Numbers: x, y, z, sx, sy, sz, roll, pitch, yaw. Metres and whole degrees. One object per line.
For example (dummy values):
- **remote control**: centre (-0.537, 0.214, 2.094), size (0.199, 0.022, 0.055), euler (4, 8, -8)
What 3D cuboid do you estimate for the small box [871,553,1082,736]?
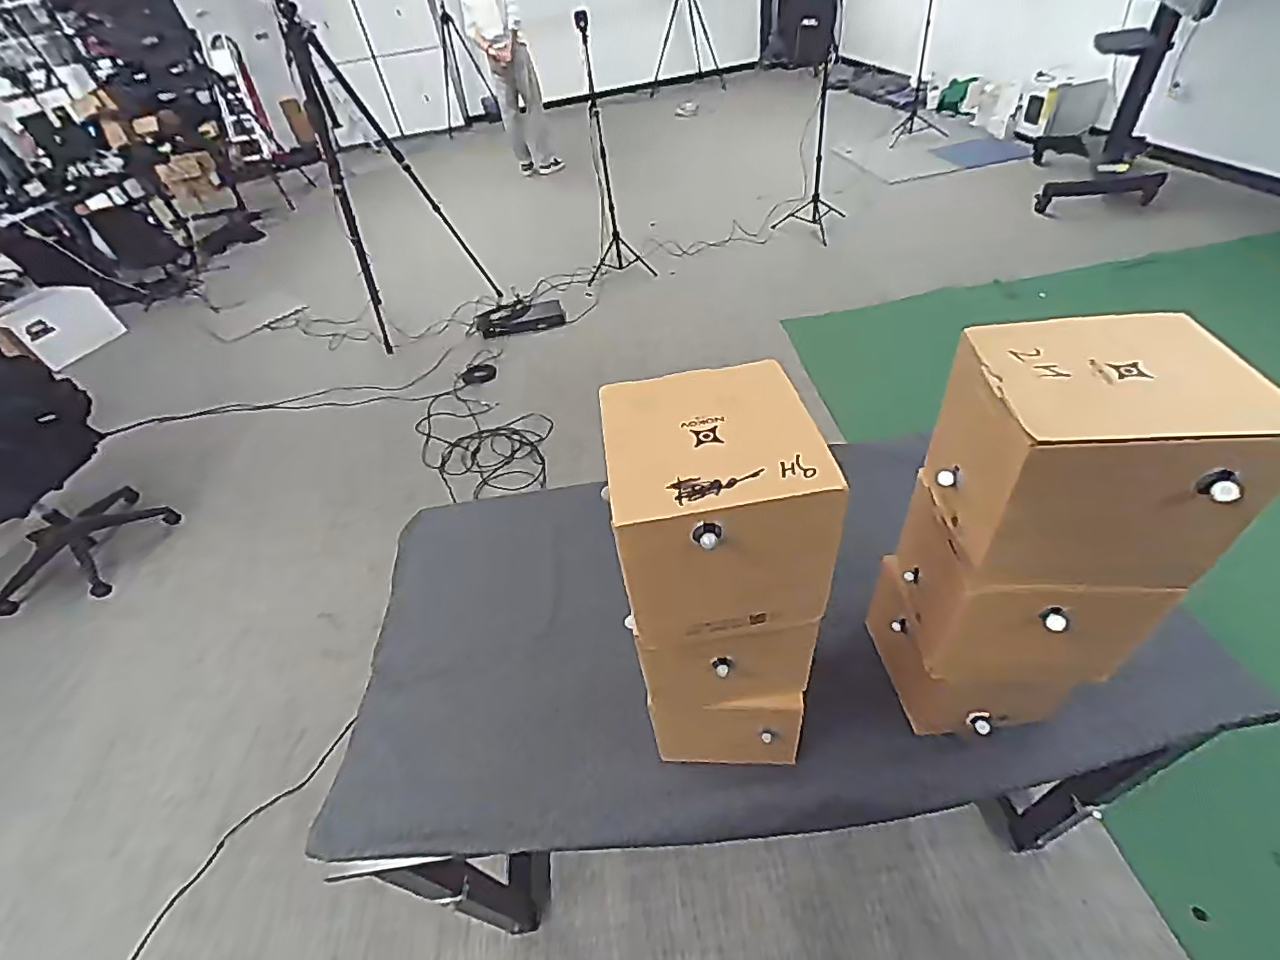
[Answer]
- **small box**: centre (0.418, 0.203, 0.700), size (0.168, 0.176, 0.179), euler (-10, 43, 2)

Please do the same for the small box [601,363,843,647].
- **small box**: centre (0.061, 0.021, 0.484), size (0.168, 0.176, 0.179), euler (-10, 42, 1)

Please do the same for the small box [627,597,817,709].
- **small box**: centre (0.081, 0.133, 0.602), size (0.179, 0.176, 0.168), euler (-10, 43, 2)

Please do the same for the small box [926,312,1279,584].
- **small box**: centre (0.375, -0.024, 0.469), size (0.179, 0.176, 0.168), euler (-2, 43, 12)

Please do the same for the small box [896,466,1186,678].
- **small box**: centre (0.396, 0.097, 0.579), size (0.179, 0.176, 0.168), euler (-3, 43, 10)
